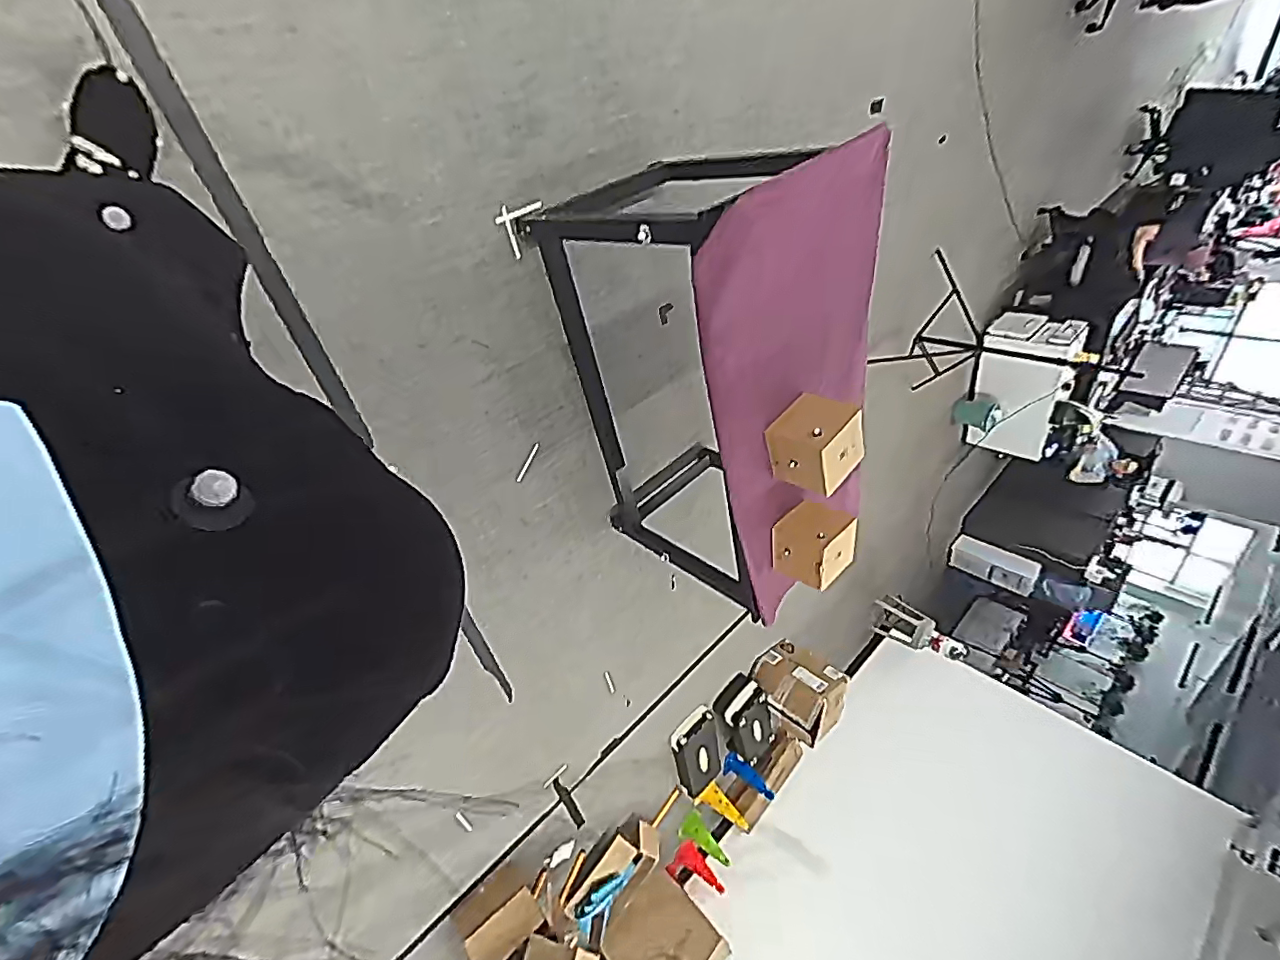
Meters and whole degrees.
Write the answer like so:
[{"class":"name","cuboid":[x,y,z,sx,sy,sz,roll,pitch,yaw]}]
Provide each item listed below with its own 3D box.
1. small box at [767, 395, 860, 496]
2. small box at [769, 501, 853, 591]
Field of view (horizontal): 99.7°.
[{"class":"small box","cuboid":[0.443,-0.093,1.396,0.179,0.176,0.168,-43,135,-21]},{"class":"small box","cuboid":[0.499,0.185,1.592,0.179,0.176,0.168,-33,129,-31]}]
